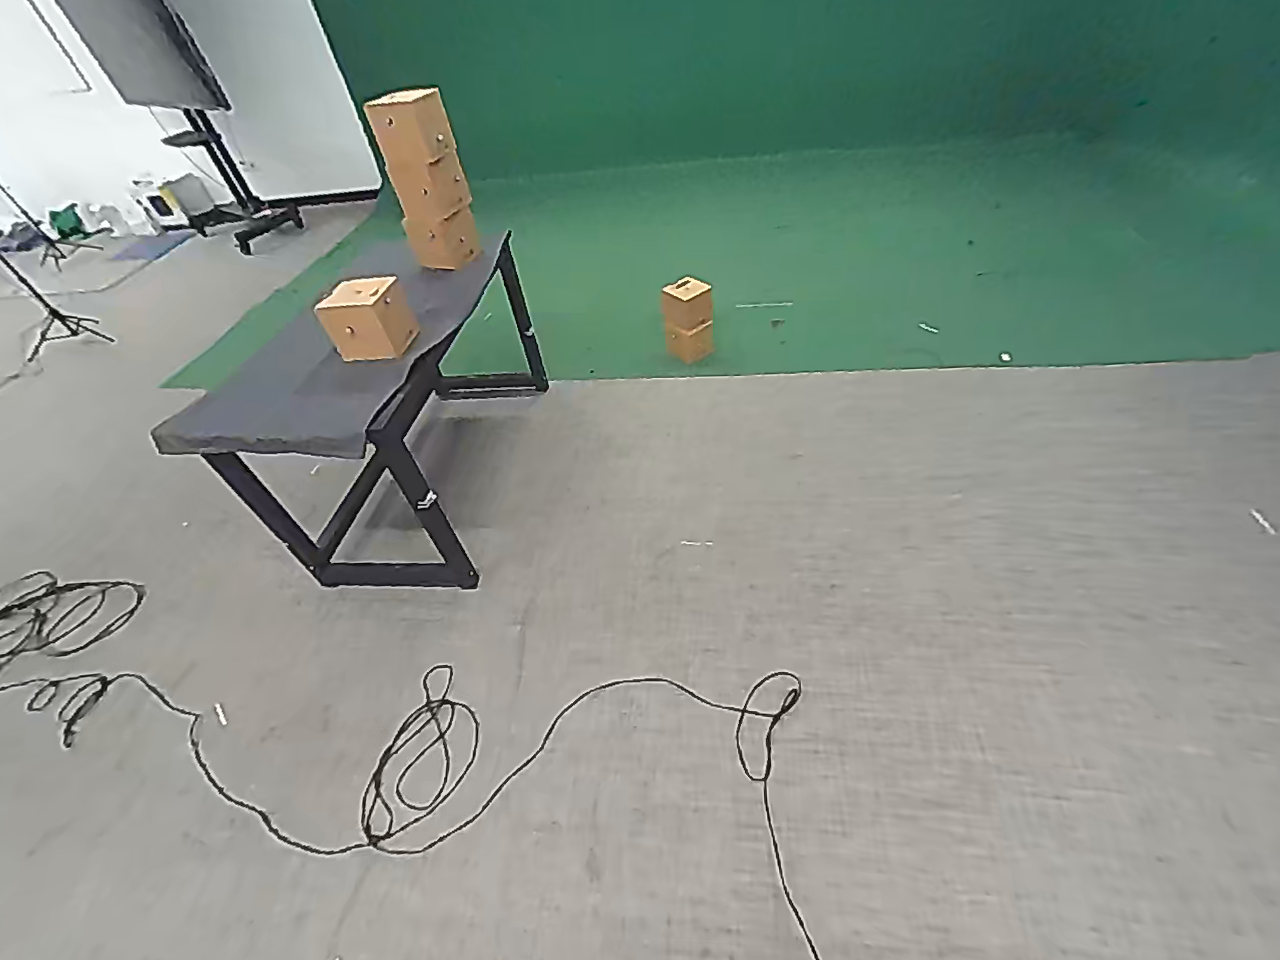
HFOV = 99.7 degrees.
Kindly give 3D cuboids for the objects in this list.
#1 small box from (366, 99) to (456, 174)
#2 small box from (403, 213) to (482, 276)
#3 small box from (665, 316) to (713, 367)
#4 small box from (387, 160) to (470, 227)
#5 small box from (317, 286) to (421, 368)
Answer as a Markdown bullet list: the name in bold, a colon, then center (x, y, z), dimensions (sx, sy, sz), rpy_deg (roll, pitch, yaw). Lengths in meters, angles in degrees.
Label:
- **small box**: center (-0.728, -1.099, 1.737), dimensions (0.179, 0.176, 0.168), rpy_deg (5, 46, 16)
- **small box**: center (-0.703, -0.850, 1.949), dimensions (0.179, 0.176, 0.168), rpy_deg (13, 49, 24)
- **small box**: center (0.246, -0.679, 2.665), dimensions (0.168, 0.176, 0.179), rpy_deg (-33, 49, -22)
- **small box**: center (-0.713, -0.978, 1.847), dimensions (0.179, 0.176, 0.168), rpy_deg (9, 46, 21)
- **small box**: center (-0.765, -0.433, 1.547), dimensions (0.179, 0.176, 0.168), rpy_deg (-2, 45, 10)
